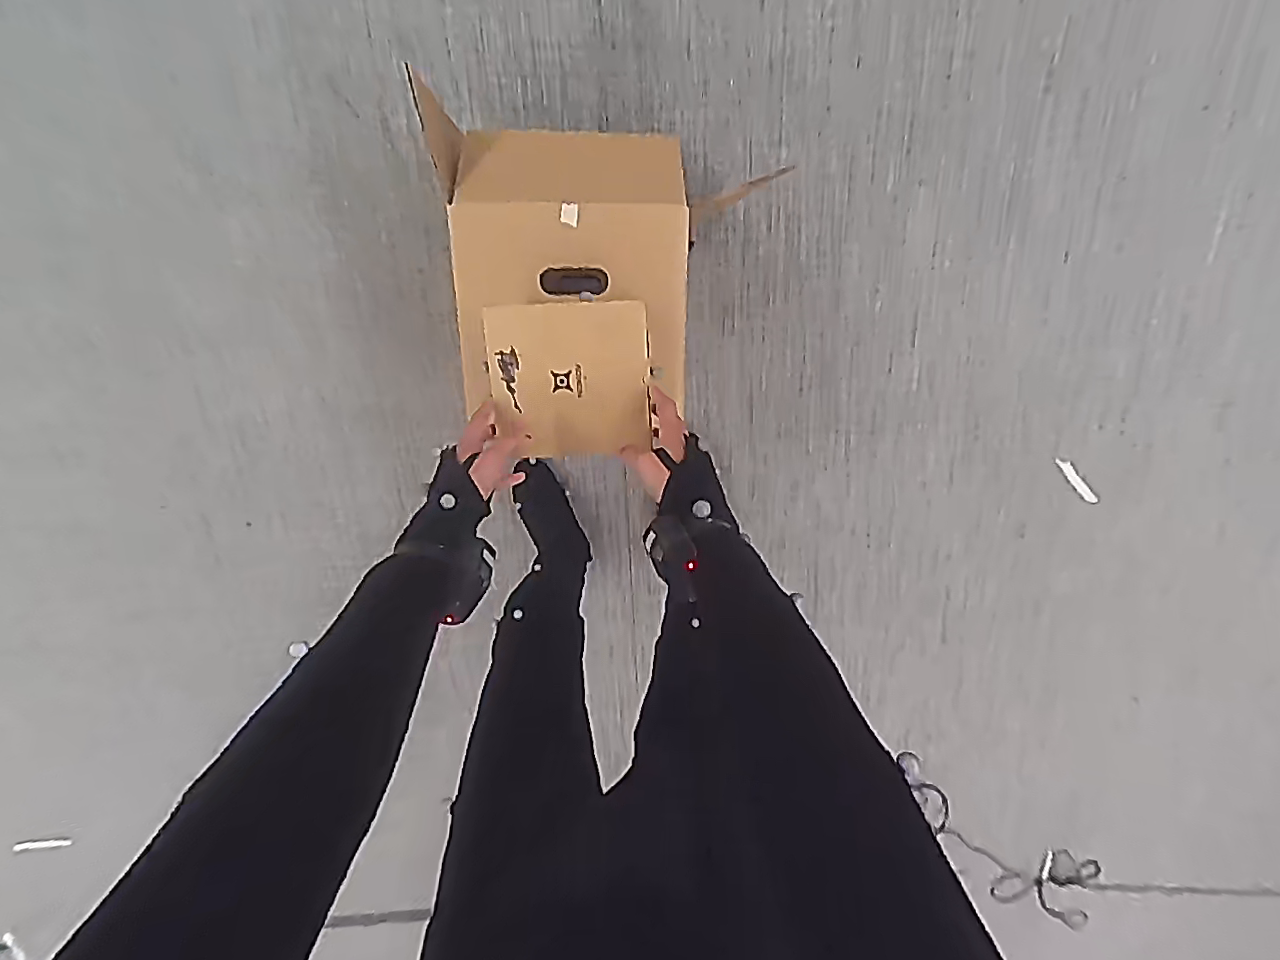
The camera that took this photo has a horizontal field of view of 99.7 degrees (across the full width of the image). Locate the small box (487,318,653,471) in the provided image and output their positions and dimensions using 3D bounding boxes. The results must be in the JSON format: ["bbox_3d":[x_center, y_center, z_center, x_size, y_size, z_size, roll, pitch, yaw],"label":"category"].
[{"bbox_3d":[-0.076,-0.113,0.670,0.179,0.176,0.168,-2,106,0],"label":"small box"}]
